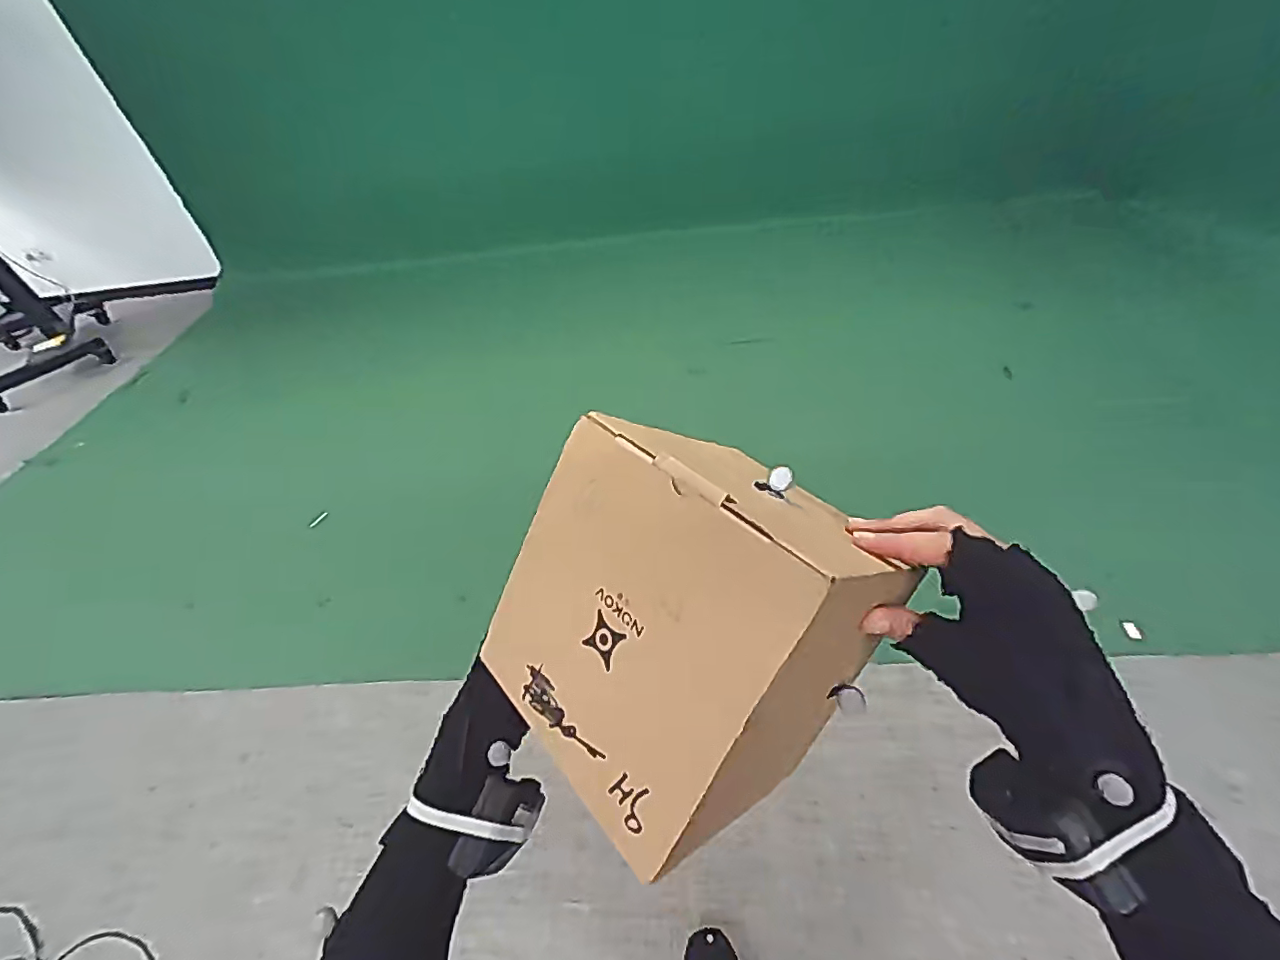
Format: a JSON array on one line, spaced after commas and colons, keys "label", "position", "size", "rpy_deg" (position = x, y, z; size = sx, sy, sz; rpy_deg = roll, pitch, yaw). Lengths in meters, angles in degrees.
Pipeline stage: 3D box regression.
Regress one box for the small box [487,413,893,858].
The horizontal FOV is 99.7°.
[{"label": "small box", "position": [0.038, 0.081, 0.352], "size": [0.168, 0.179, 0.176], "rpy_deg": [37, 17, 37]}]
